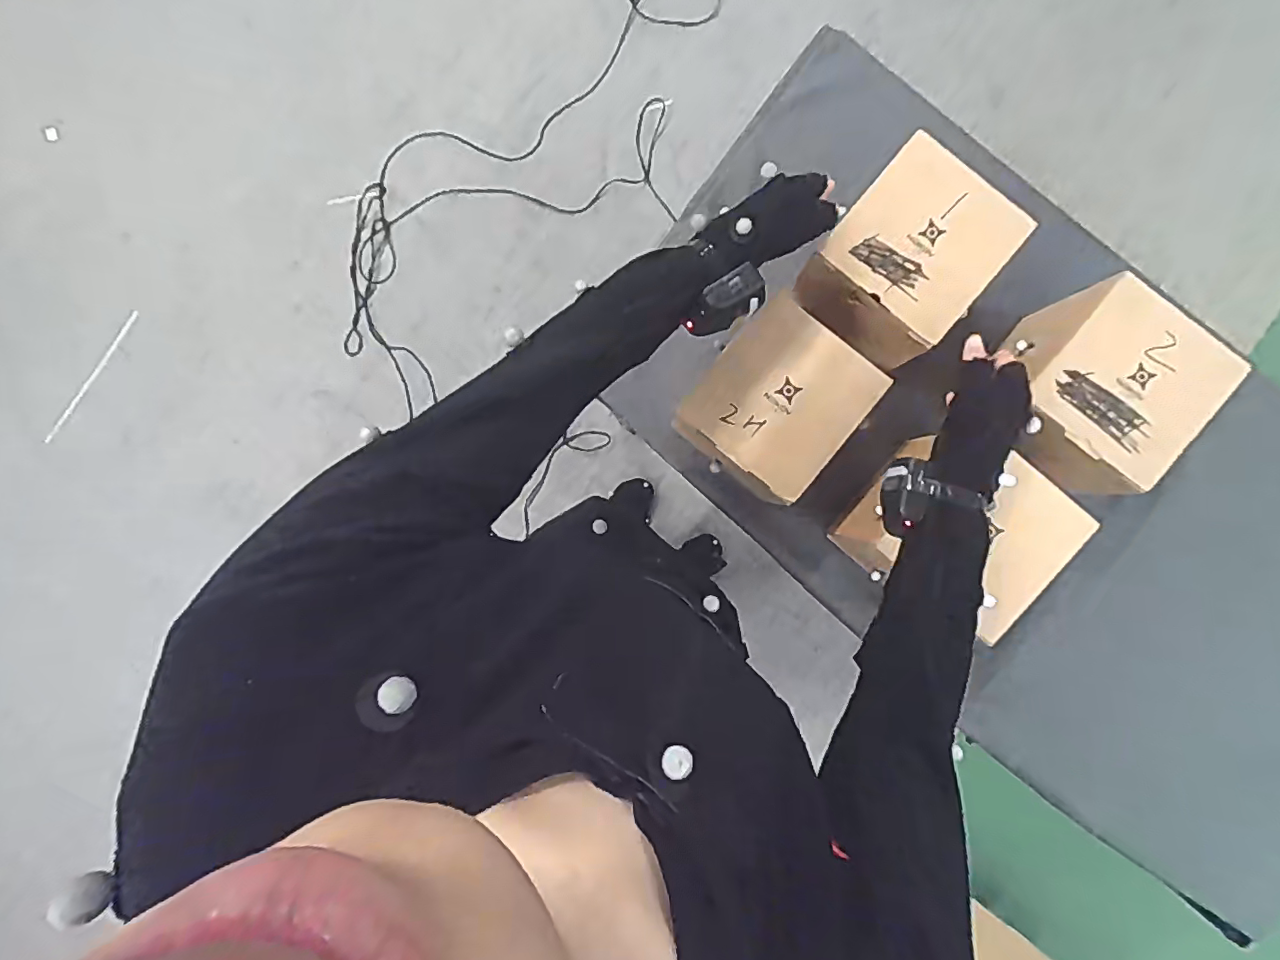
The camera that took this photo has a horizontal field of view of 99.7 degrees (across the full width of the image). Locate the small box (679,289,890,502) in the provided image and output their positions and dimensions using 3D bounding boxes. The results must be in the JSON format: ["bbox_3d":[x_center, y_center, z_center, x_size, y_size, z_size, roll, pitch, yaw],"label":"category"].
[{"bbox_3d":[0.158,-0.093,0.665,0.168,0.176,0.179,39,92,2],"label":"small box"}]

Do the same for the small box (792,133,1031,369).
[{"bbox_3d":[0.308,-0.259,0.664,0.168,0.176,0.179,41,90,2],"label":"small box"}]
